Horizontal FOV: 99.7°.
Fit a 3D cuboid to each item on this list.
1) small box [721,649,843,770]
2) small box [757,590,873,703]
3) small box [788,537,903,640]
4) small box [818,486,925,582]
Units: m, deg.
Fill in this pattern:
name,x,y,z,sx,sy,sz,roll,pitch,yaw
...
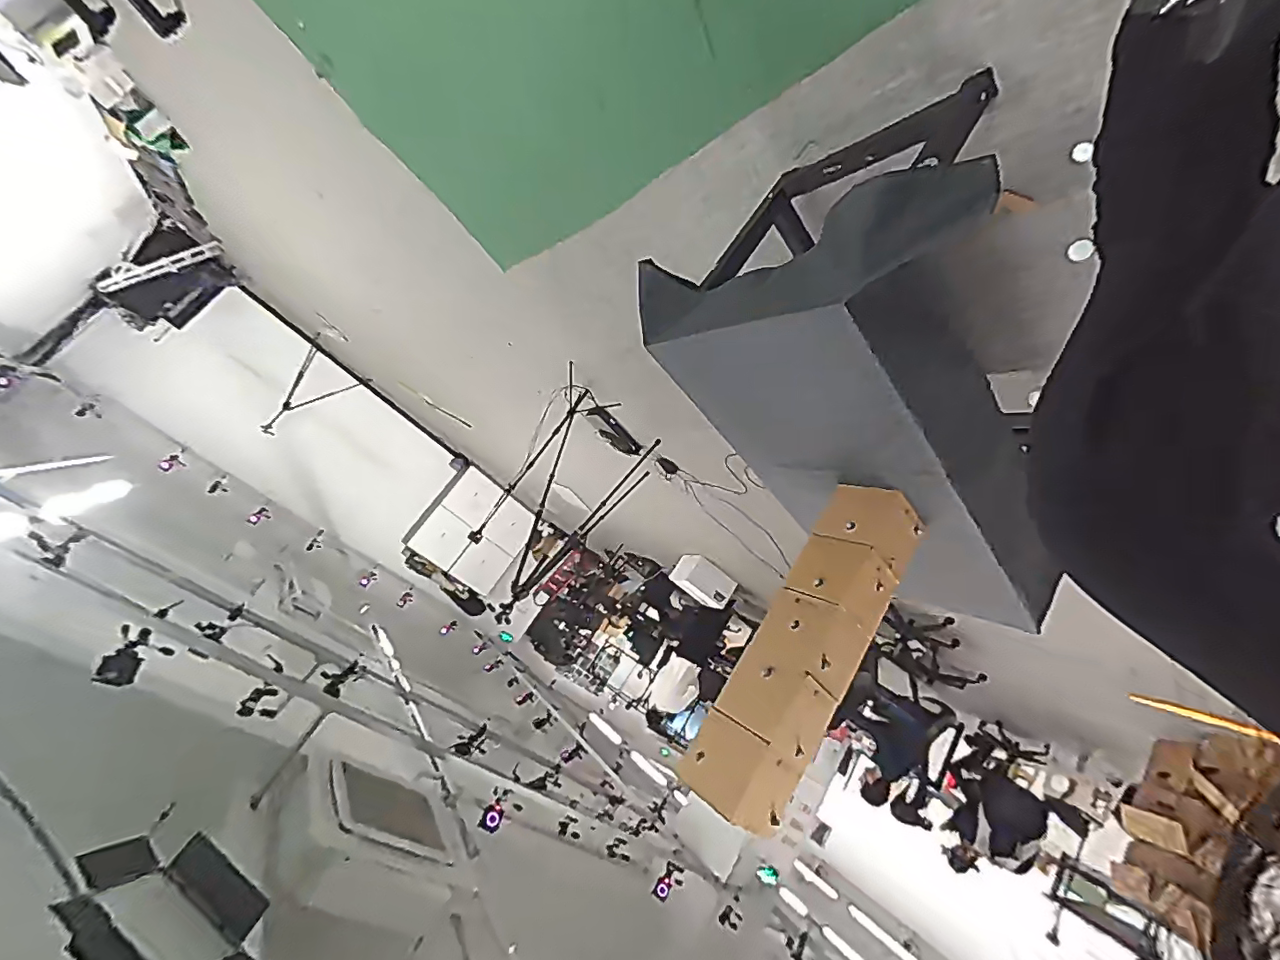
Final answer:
name,x,y,z,sx,sy,sz,roll,pitch,yaw
small box,0.325,0.512,1.233,0.168,0.176,0.179,46,160,-30
small box,0.418,0.386,1.282,0.179,0.176,0.168,45,161,-29
small box,0.508,0.258,1.333,0.168,0.176,0.179,44,161,-28
small box,0.597,0.132,1.380,0.168,0.176,0.179,44,162,-28
